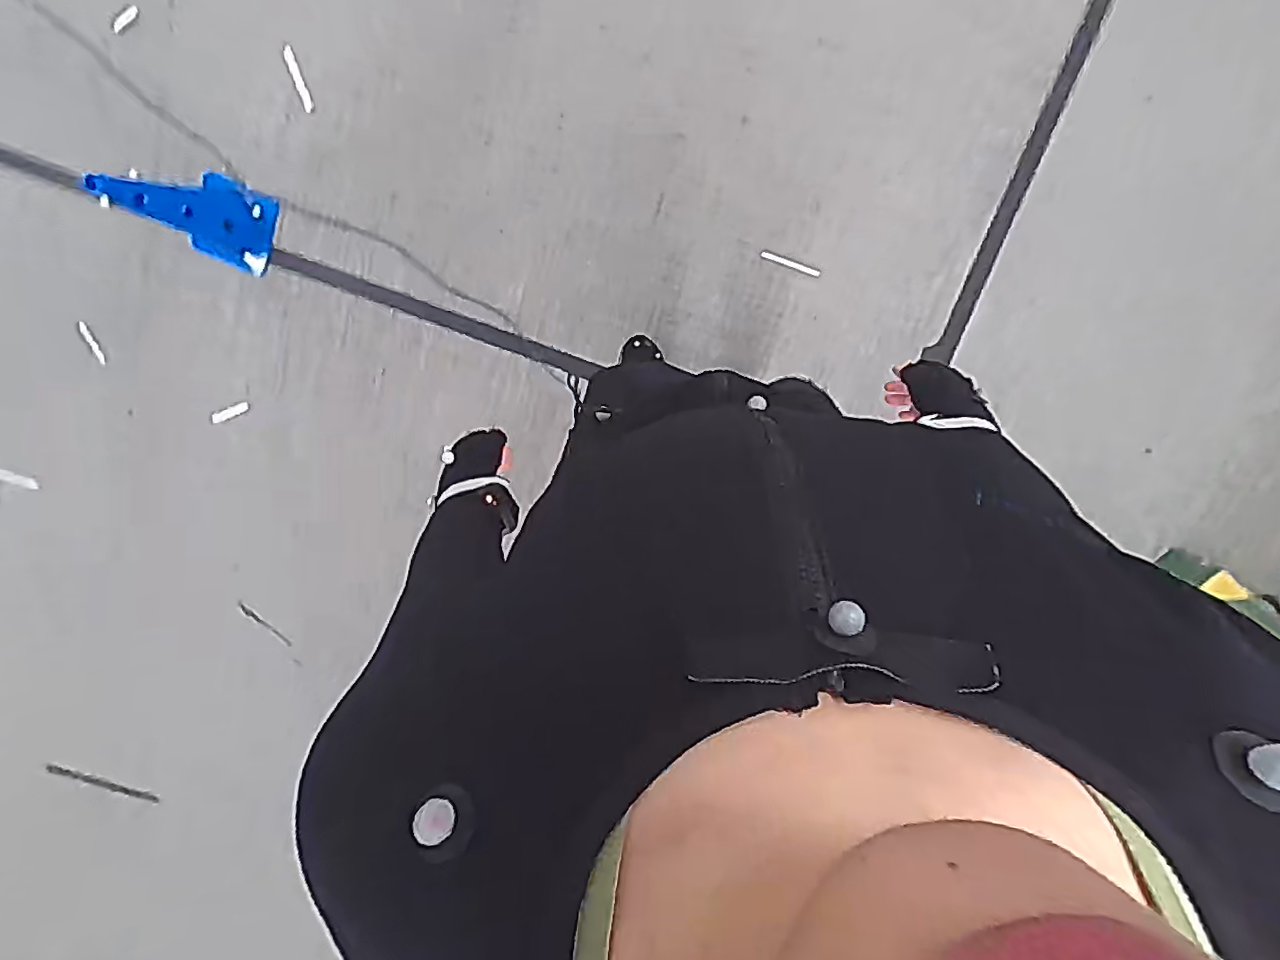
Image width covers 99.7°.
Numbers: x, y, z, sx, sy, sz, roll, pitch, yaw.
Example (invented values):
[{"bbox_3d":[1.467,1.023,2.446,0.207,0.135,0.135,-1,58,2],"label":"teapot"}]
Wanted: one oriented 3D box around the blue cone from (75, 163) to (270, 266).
[{"bbox_3d":[-1.036,-0.615,1.186,0.192,0.380,0.193,23,103,-2],"label":"blue cone"}]
